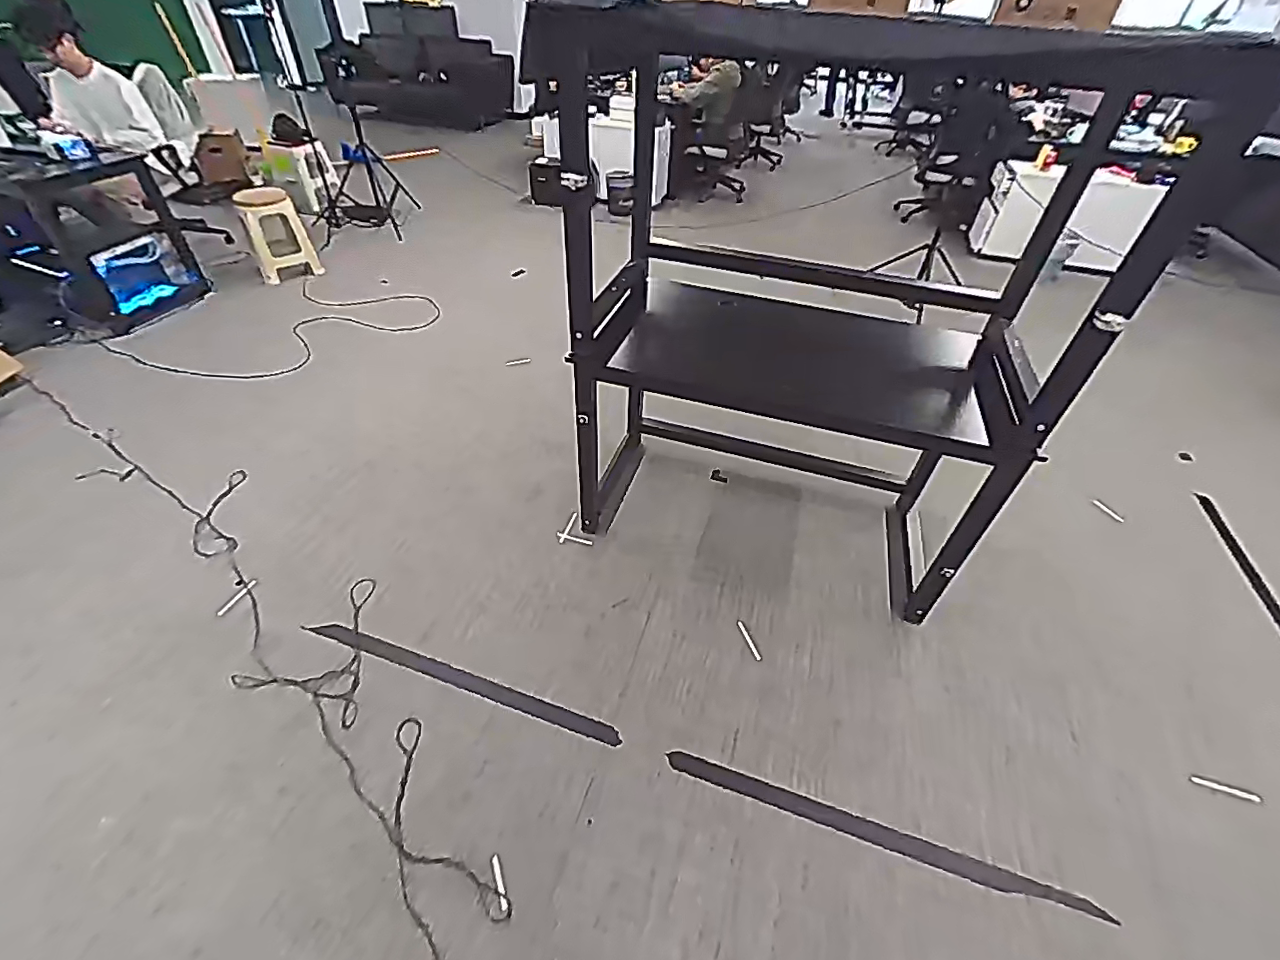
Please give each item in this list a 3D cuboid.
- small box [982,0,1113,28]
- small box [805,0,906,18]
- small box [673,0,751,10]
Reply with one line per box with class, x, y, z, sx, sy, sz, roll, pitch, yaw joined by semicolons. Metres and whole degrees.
small box;0.671;-0.828;0.856;0.168;0.176;0.179;17;43;14
small box;0.385;-0.897;0.911;0.168;0.176;0.179;14;42;12
small box;0.124;-0.959;0.964;0.168;0.176;0.179;14;43;10
